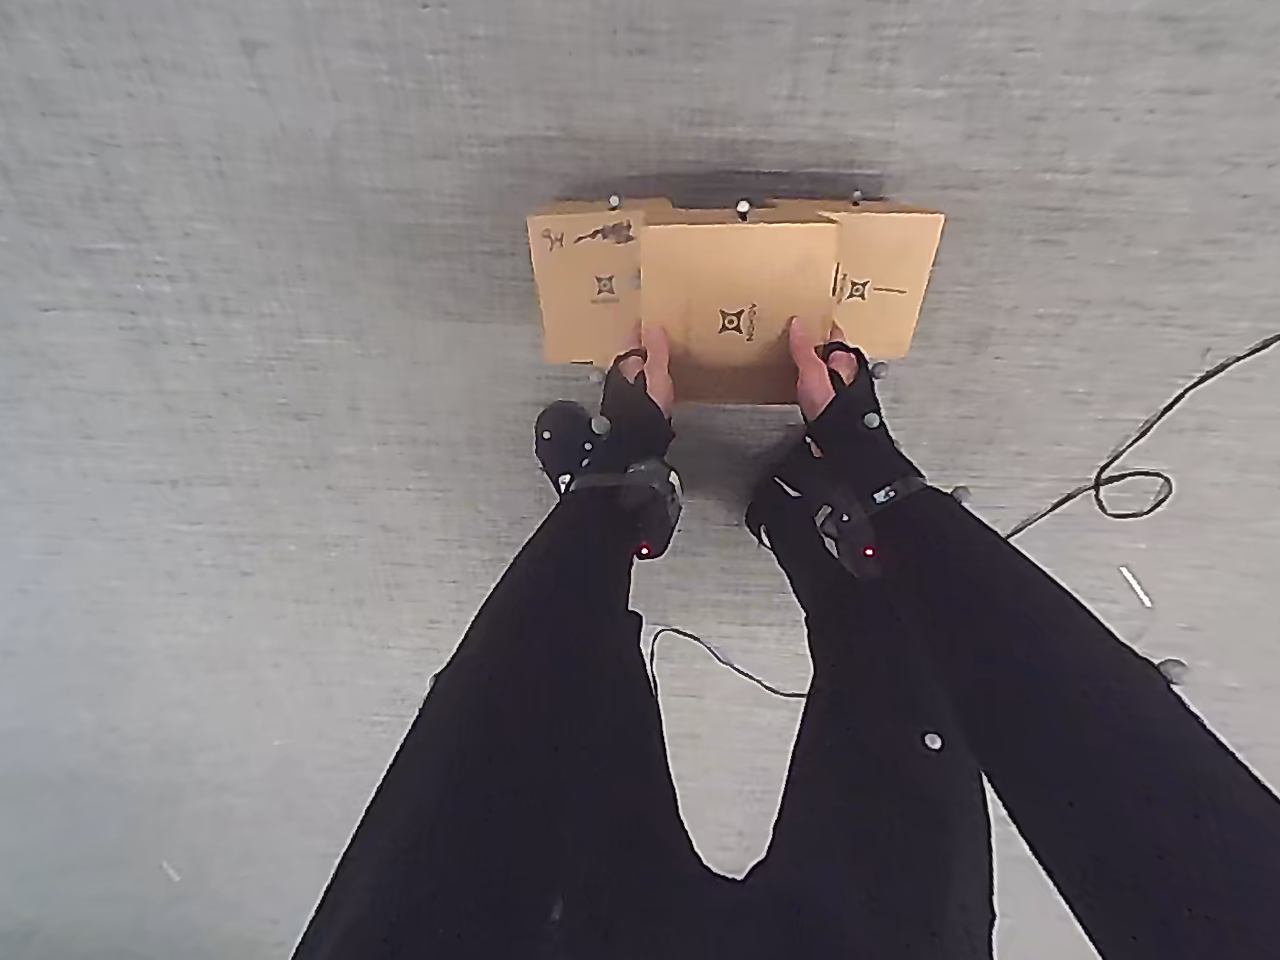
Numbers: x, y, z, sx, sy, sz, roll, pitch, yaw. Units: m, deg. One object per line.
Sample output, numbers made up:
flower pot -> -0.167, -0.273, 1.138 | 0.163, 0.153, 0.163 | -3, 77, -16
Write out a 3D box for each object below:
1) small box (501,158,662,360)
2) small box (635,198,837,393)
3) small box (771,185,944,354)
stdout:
small box -> -0.042, -0.288, 0.705 | 0.179, 0.176, 0.168 | -26, 115, 20
small box -> 0.087, -0.200, 0.570 | 0.179, 0.176, 0.168 | 2, 120, 4
small box -> 0.246, -0.278, 0.701 | 0.179, 0.176, 0.168 | 6, 124, 1
